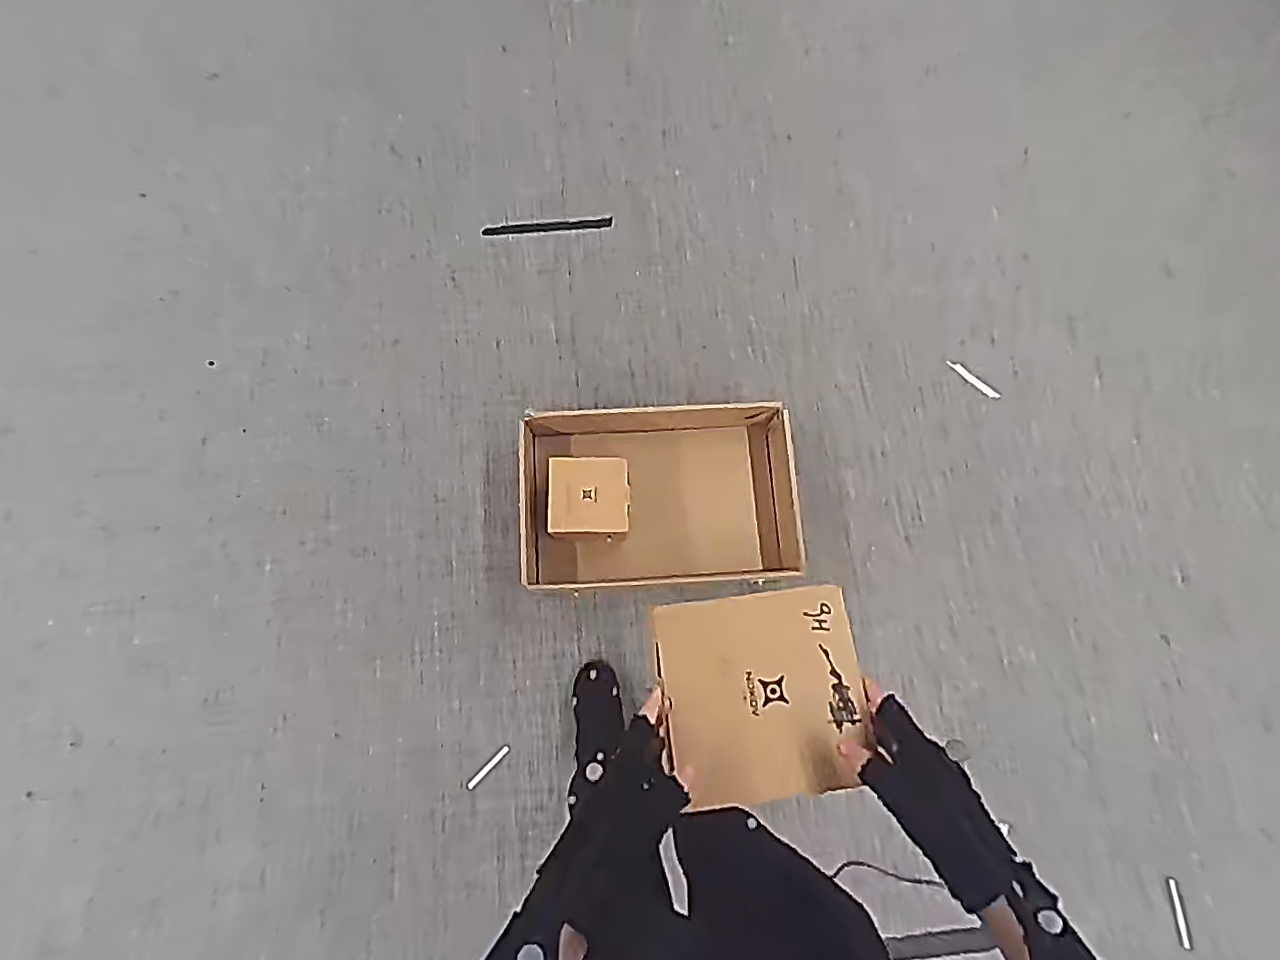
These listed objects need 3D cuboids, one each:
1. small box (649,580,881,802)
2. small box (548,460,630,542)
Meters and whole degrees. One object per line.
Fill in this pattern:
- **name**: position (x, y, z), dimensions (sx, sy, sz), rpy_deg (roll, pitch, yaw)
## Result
- **small box**: position (0.106, 0.202, 0.544), dimensions (0.179, 0.176, 0.168), rpy_deg (-7, 73, -2)
- **small box**: position (-0.114, 0.053, 1.245), dimensions (0.179, 0.176, 0.168), rpy_deg (0, 78, -2)
